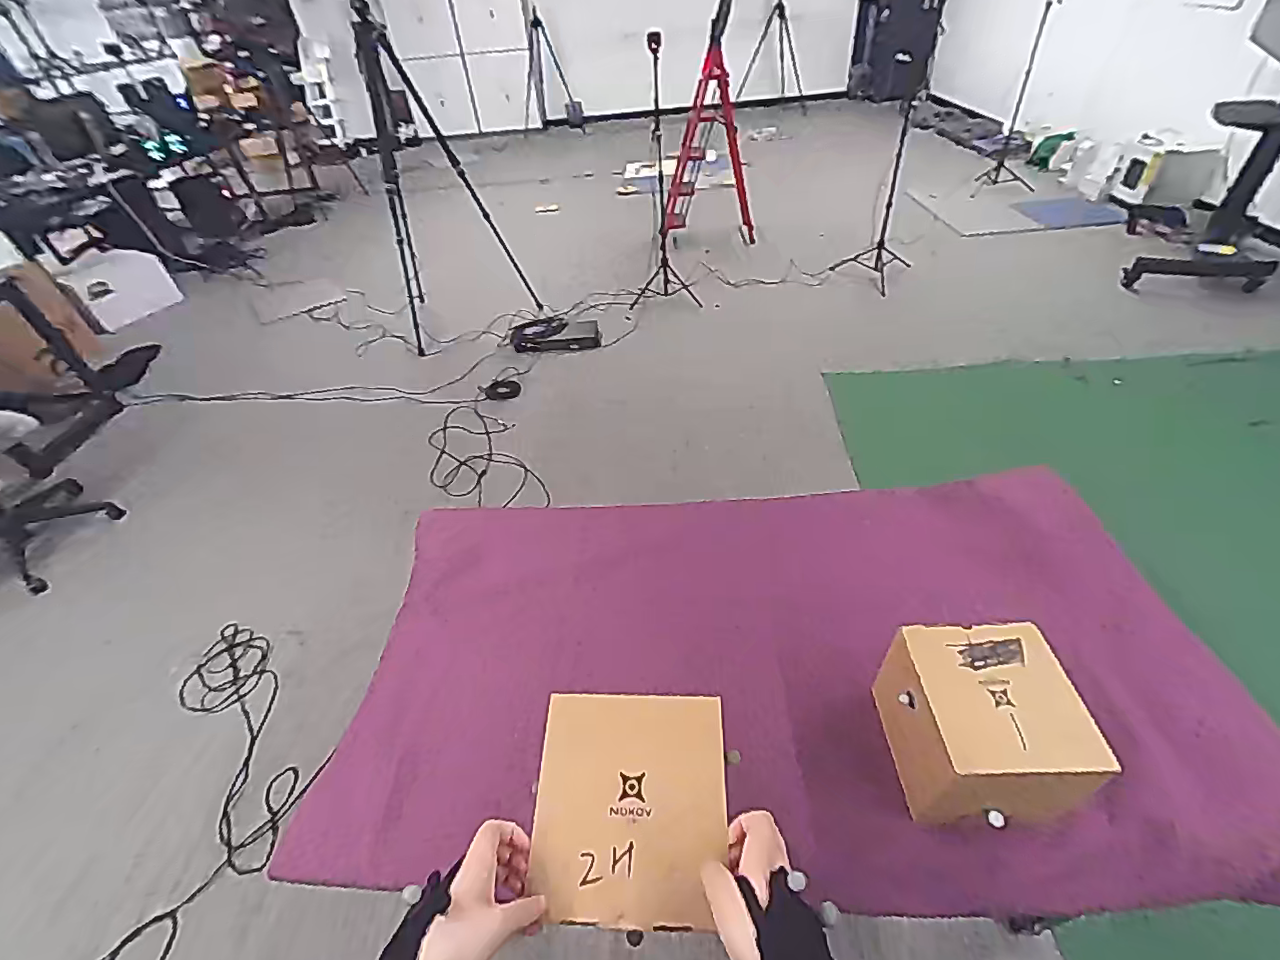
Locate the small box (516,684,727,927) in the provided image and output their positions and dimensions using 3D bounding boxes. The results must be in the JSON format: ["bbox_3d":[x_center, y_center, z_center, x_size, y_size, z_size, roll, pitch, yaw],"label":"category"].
[{"bbox_3d":[-0.006,0.315,0.525,0.168,0.176,0.179,-1,52,5],"label":"small box"}]

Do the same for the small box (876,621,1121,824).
[{"bbox_3d":[0.407,0.294,0.658,0.168,0.176,0.179,-3,43,4],"label":"small box"}]
